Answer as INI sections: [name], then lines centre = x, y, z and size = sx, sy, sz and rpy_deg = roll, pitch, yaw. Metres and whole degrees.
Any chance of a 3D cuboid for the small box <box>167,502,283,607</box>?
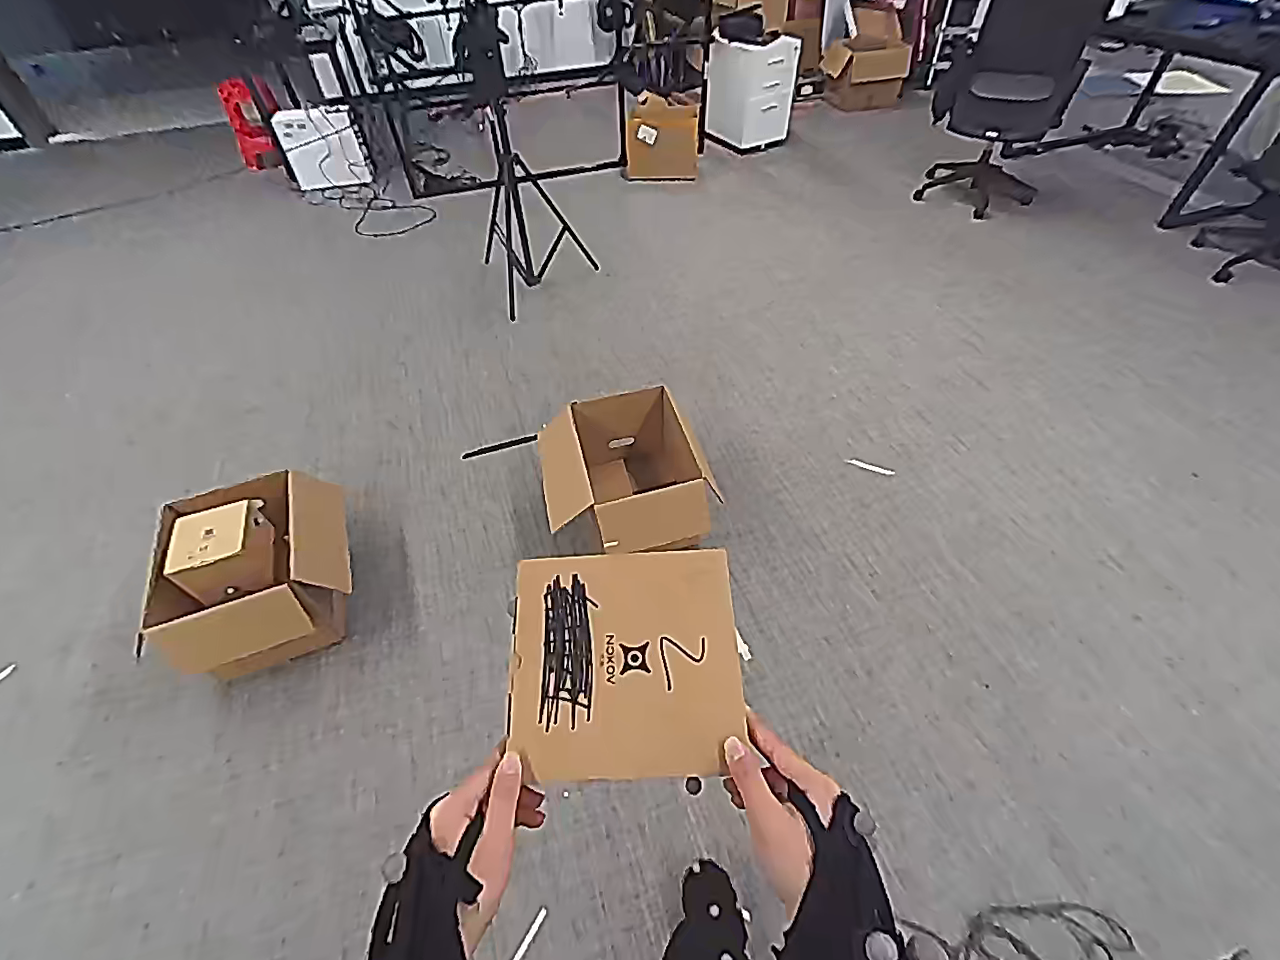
[small box]
centre = -1.033, 0.189, 1.366
size = 0.168, 0.176, 0.179
rpy_deg = -17, 51, -12
